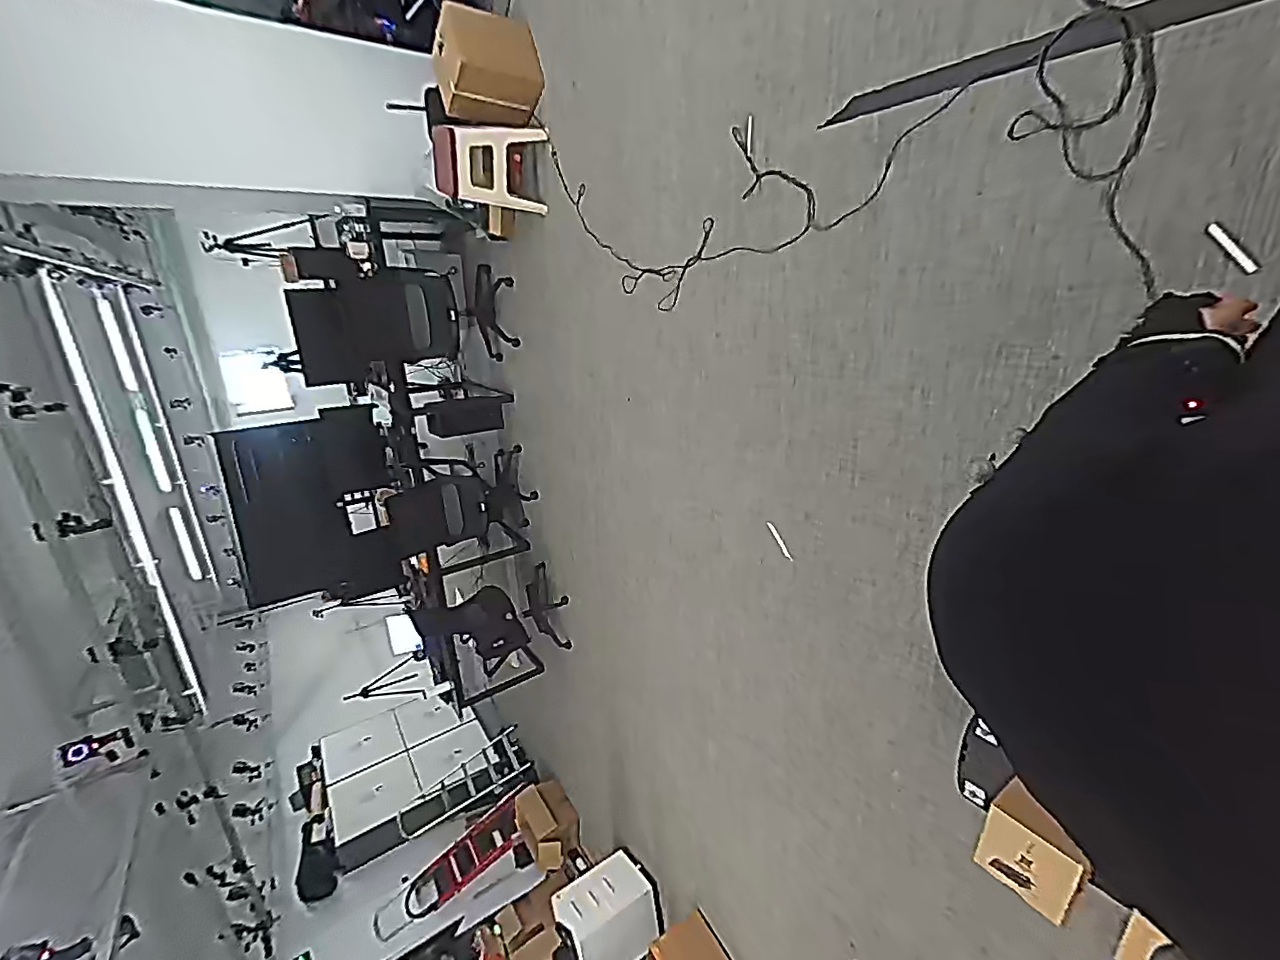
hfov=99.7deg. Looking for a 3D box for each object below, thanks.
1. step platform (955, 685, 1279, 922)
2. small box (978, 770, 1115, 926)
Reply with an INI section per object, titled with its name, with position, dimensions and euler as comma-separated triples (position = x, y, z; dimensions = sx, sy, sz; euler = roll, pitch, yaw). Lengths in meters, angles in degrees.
[step platform]
position = 1.057, 0.754, 1.146
dimensions = 0.684, 0.204, 0.286
euler = 23, 122, 51
[small box]
position = 0.854, 0.763, 1.137
dimensions = 0.168, 0.176, 0.179
euler = 27, 123, 50
